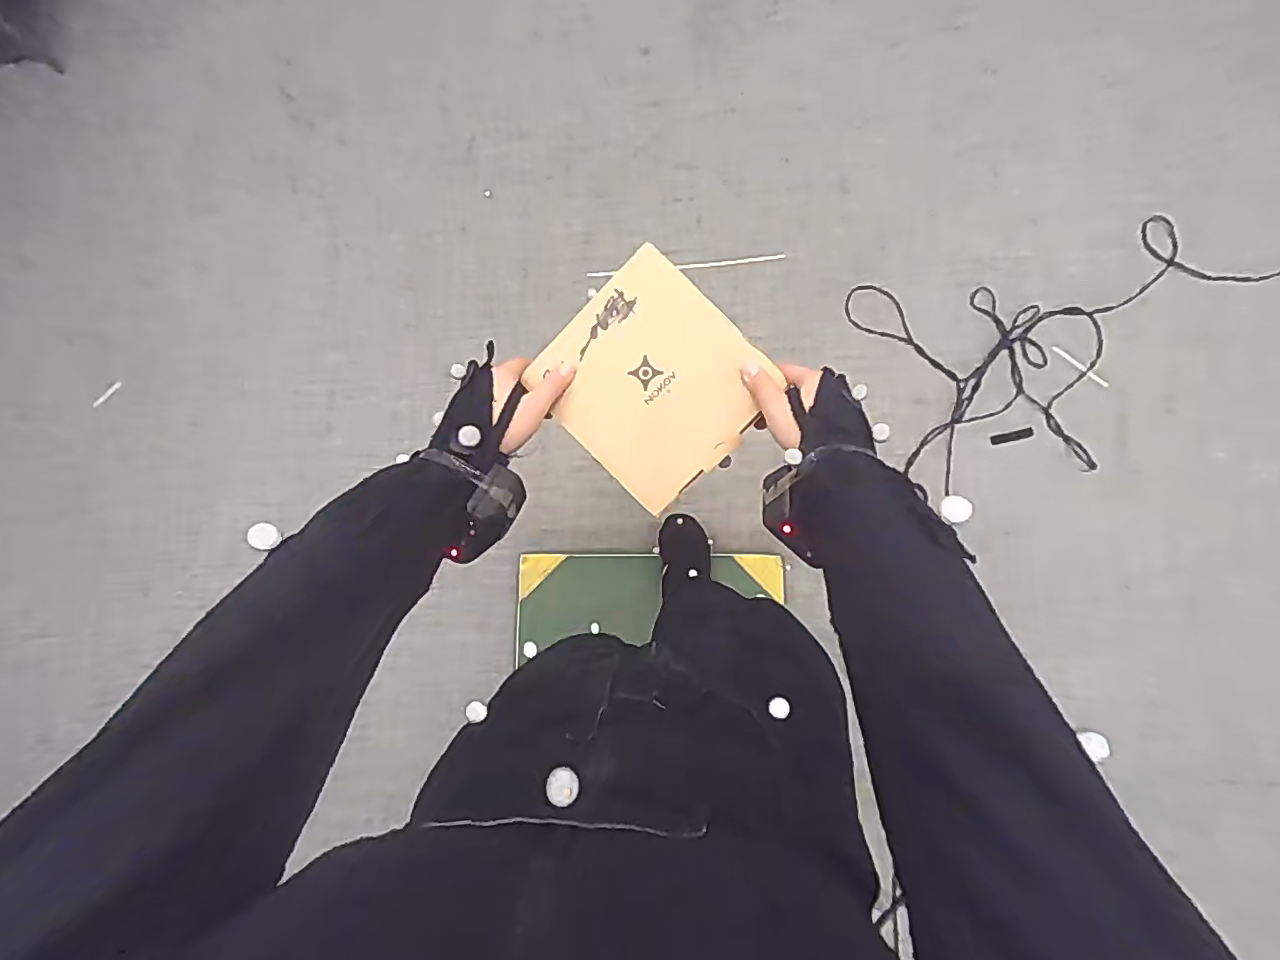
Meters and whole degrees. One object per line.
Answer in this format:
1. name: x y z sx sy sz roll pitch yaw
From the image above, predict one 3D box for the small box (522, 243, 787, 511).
1. small box: 0.018 -0.094 0.549 0.168 0.176 0.179 -45 89 5
